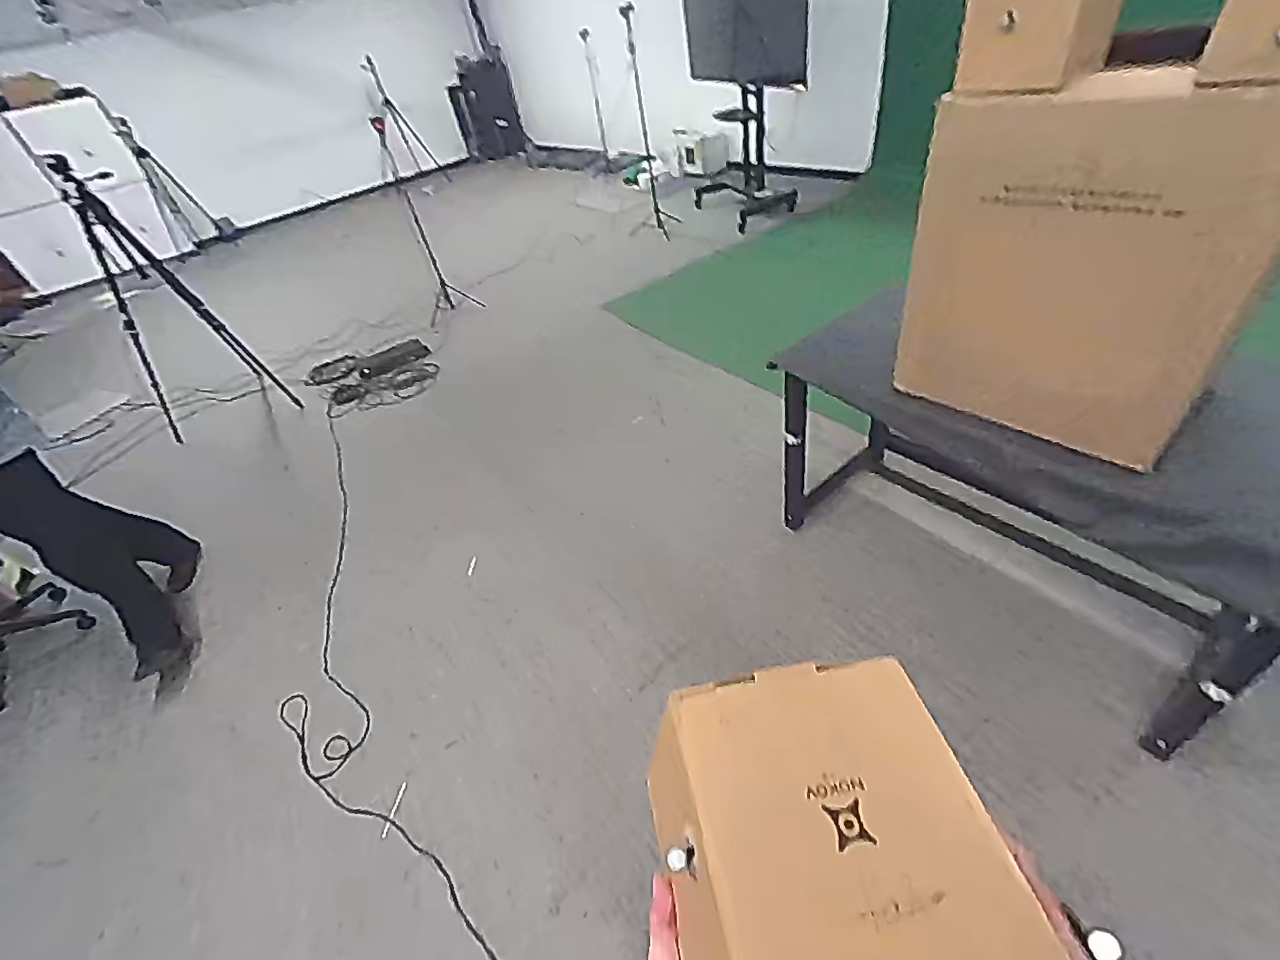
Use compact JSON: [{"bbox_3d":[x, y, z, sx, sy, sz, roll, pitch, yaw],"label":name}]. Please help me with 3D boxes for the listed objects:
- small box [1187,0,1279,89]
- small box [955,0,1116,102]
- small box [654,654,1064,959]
[{"bbox_3d":[0.884,-0.635,0.715,0.179,0.176,0.168,-39,47,-26],"label":"small box"},{"bbox_3d":[0.673,-0.768,0.926,0.168,0.176,0.179,-35,43,-22],"label":"small box"},{"bbox_3d":[0.109,0.247,0.365,0.168,0.176,0.179,-6,44,-11],"label":"small box"}]
